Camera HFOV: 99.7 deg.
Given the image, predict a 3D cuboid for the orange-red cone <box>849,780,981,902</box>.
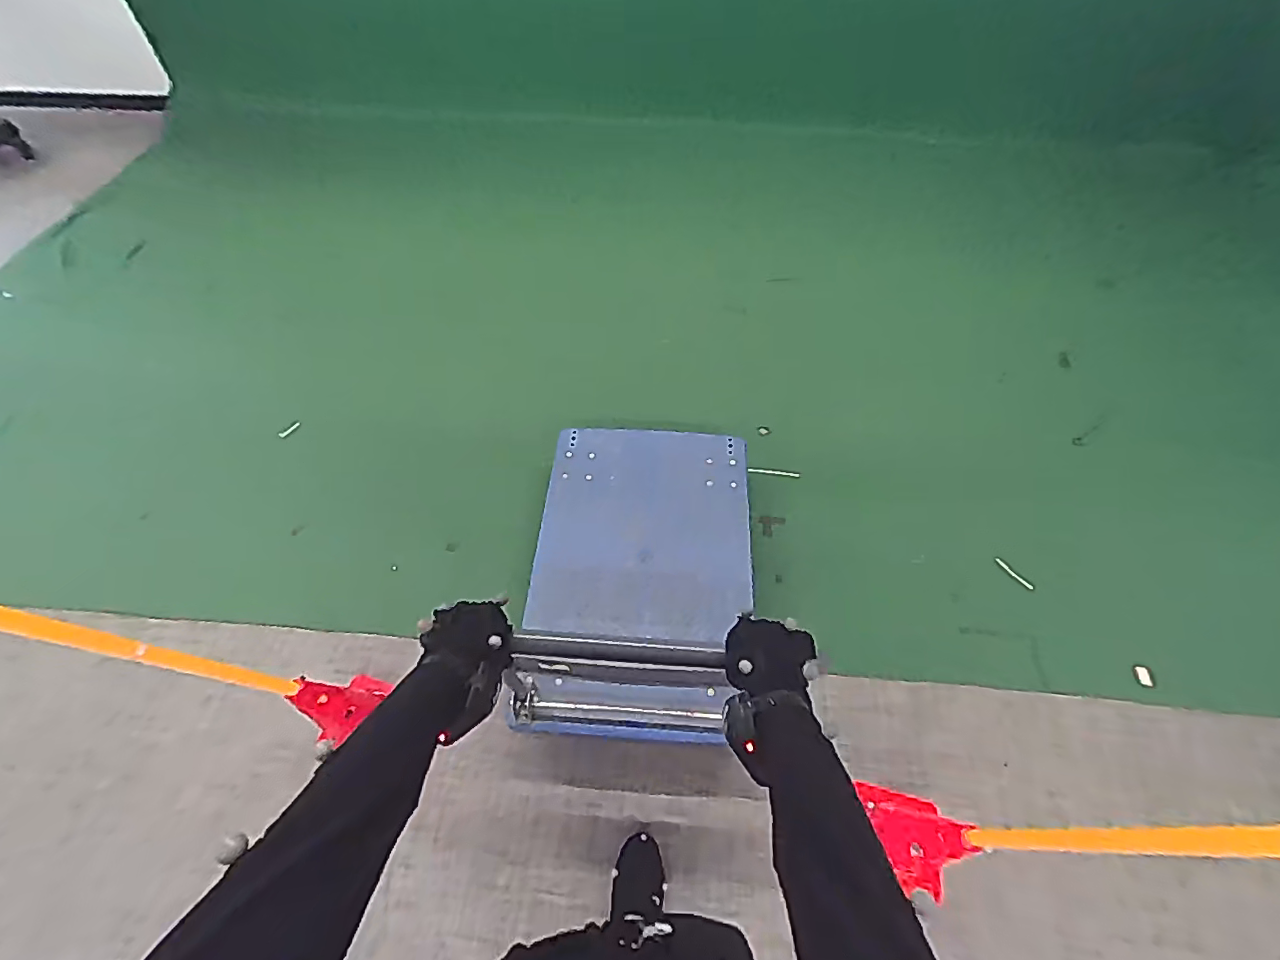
[{"bbox_3d":[0.575,0.715,1.079,0.198,0.360,0.199,13,58,10],"label":"orange-red cone"}]
